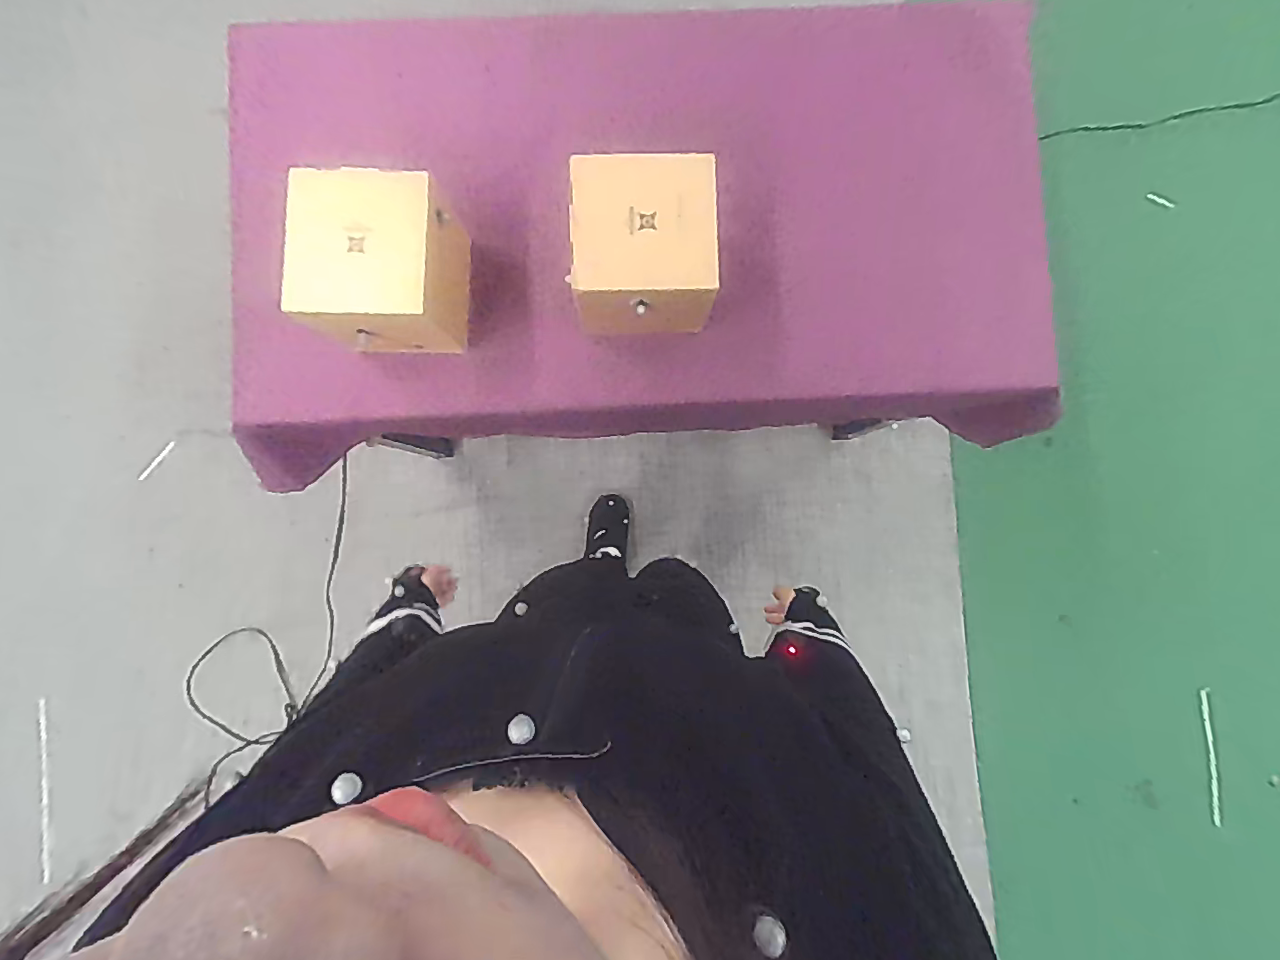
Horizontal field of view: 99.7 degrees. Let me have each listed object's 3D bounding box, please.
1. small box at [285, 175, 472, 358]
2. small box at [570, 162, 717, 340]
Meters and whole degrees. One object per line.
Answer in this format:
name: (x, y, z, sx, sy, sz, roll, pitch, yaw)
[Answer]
small box: (-0.330, -0.268, 0.714, 0.168, 0.176, 0.179, 1, 85, -1)
small box: (0.004, -0.291, 0.719, 0.179, 0.176, 0.168, 0, 87, -1)
